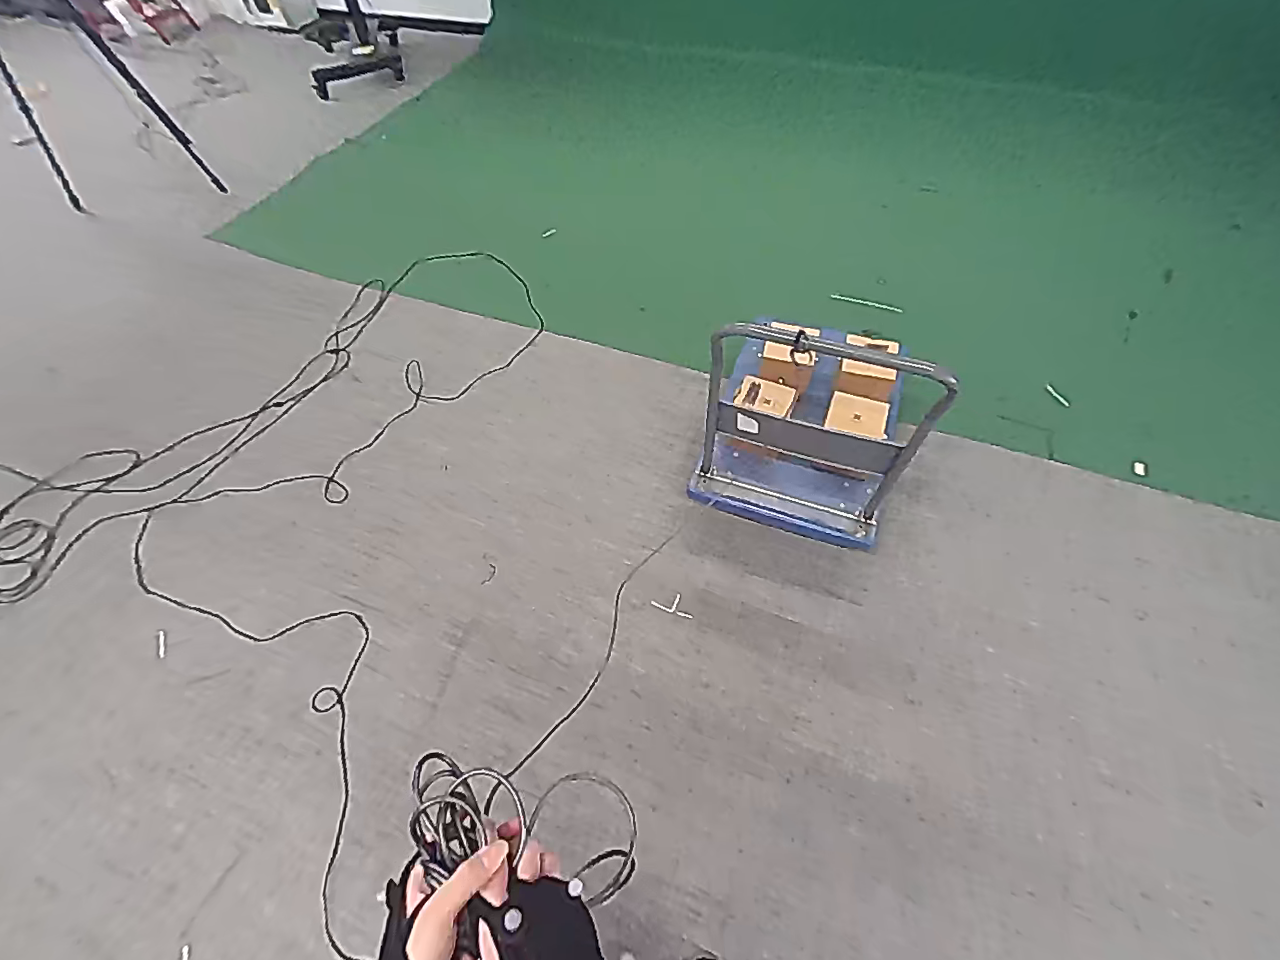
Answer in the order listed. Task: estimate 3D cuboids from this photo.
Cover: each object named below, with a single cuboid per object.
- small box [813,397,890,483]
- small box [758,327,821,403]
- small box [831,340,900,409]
[{"bbox_3d":[0.647,-0.122,1.667,0.168,0.176,0.179,18,60,14],"label":"small box"},{"bbox_3d":[0.509,-0.390,1.856,0.168,0.176,0.179,14,58,12],"label":"small box"},{"bbox_3d":[0.748,-0.333,1.803,0.168,0.176,0.179,14,59,13],"label":"small box"}]
